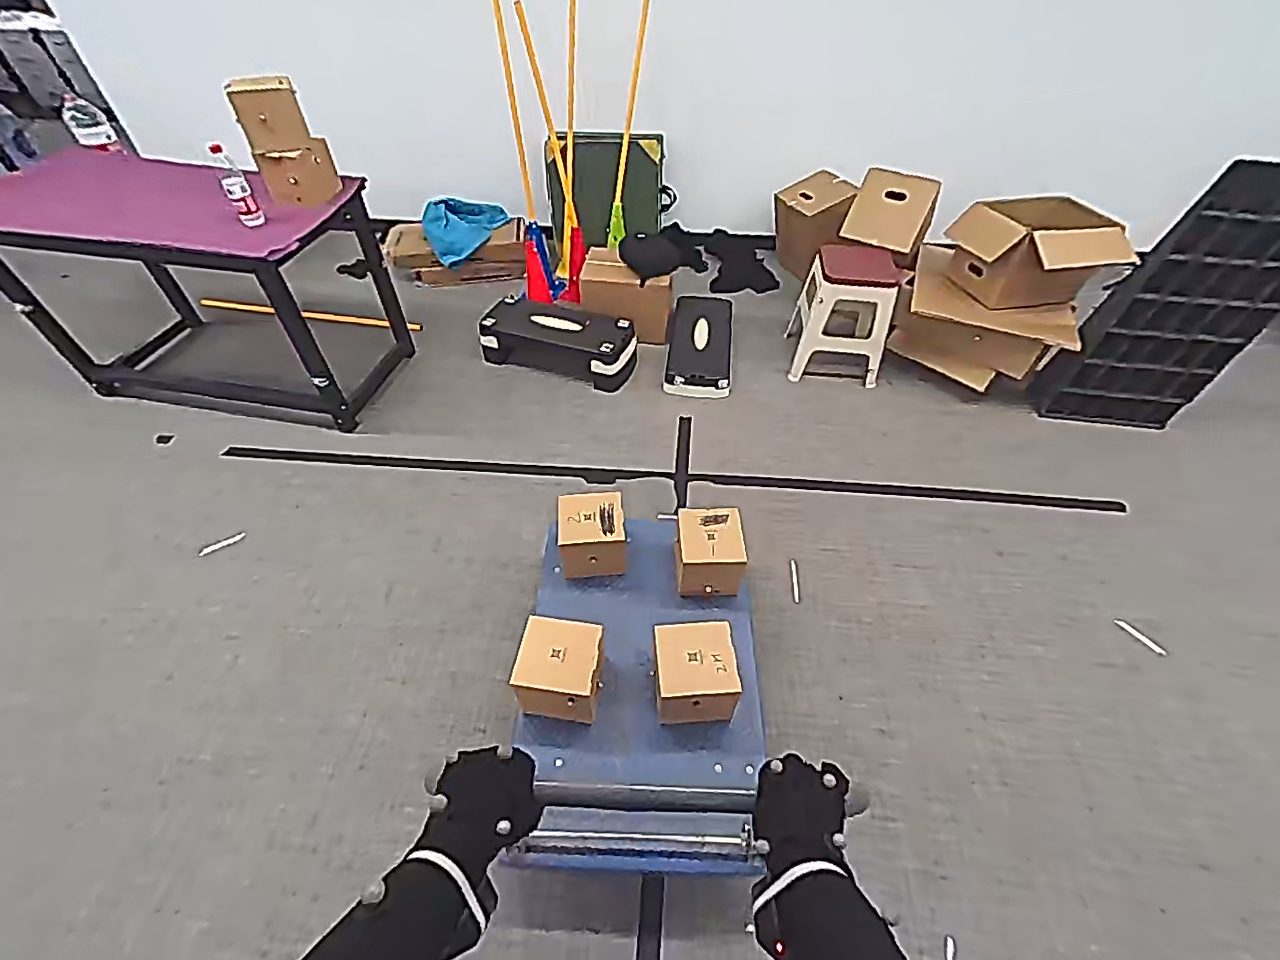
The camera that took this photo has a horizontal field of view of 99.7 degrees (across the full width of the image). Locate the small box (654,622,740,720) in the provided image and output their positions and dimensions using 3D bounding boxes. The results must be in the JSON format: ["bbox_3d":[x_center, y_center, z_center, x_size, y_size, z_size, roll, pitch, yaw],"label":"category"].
[{"bbox_3d":[0.124,0.447,1.256,0.179,0.176,0.168,-2,49,-3],"label":"small box"}]

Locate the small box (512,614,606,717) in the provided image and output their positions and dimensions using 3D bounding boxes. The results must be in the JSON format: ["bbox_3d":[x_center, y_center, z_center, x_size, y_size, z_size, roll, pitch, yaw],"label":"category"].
[{"bbox_3d":[-0.181,0.435,1.261,0.179,0.176,0.168,8,48,4],"label":"small box"}]

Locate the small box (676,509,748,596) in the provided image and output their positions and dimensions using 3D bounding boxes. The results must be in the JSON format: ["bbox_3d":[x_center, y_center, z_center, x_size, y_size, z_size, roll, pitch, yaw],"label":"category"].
[{"bbox_3d":[0.190,0.198,1.479,0.168,0.176,0.179,0,49,-1],"label":"small box"}]
